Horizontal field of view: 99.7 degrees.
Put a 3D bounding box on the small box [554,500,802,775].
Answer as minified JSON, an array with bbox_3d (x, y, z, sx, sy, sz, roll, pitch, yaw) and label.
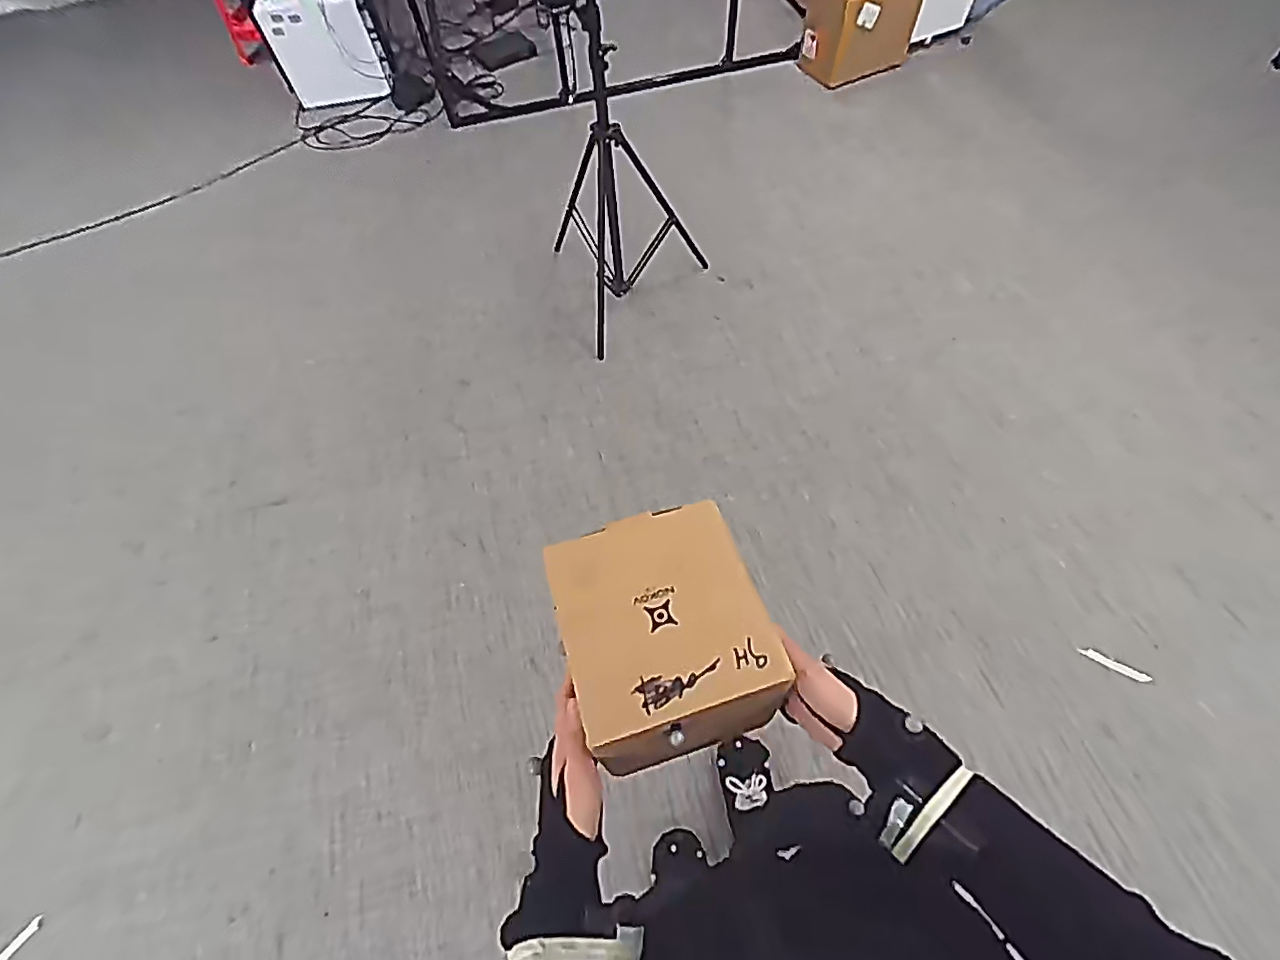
[{"bbox_3d":[0.027,0.151,0.511,0.168,0.176,0.179,-16,55,-7],"label":"small box"}]
